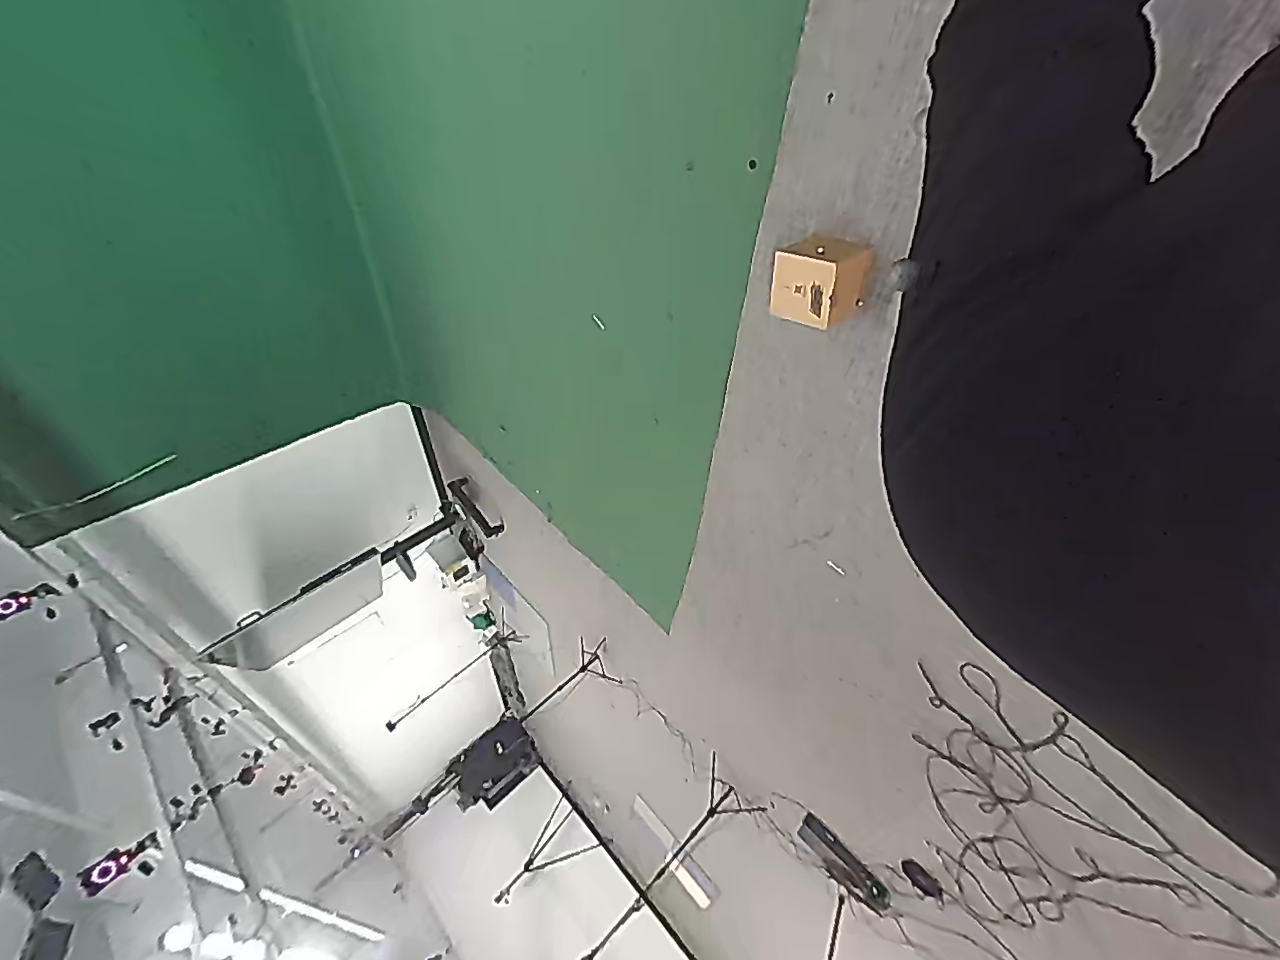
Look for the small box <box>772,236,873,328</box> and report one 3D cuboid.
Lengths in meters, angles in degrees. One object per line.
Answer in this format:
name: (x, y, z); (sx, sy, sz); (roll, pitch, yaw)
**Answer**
small box: (0.465, -0.512, 1.382); (0.179, 0.176, 0.168); (32, 141, 36)
